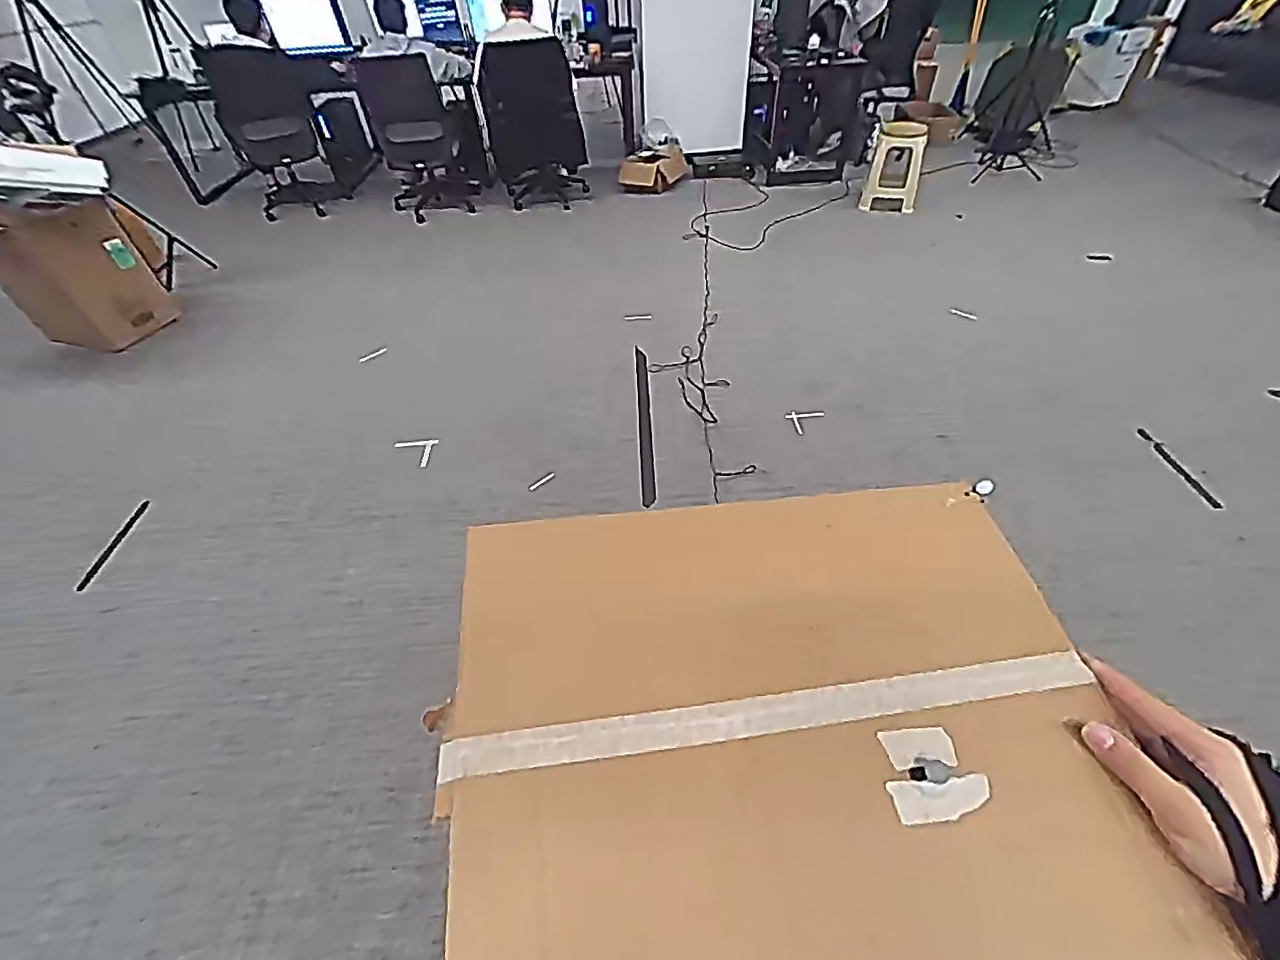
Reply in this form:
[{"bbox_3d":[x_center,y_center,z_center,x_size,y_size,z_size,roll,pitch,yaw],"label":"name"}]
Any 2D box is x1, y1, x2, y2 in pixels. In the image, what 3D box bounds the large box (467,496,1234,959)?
[{"bbox_3d":[0.086,0.242,0.460,0.408,0.320,0.320,-5,54,-8],"label":"large box"}]
